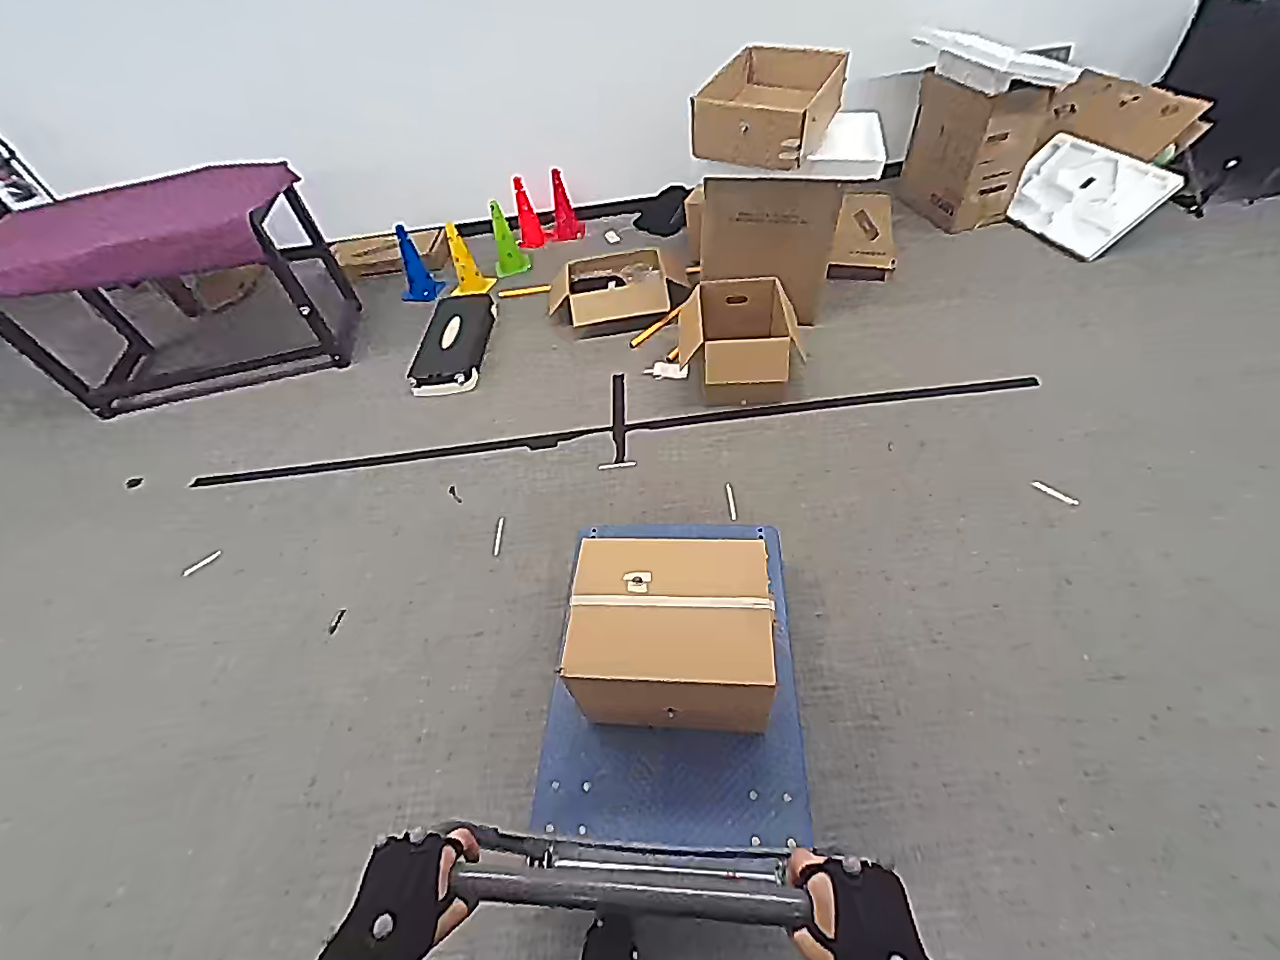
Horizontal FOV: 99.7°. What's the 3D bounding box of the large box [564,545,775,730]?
[{"bbox_3d":[0.078,0.360,1.216,0.408,0.320,0.320,-2,50,8],"label":"large box"}]
